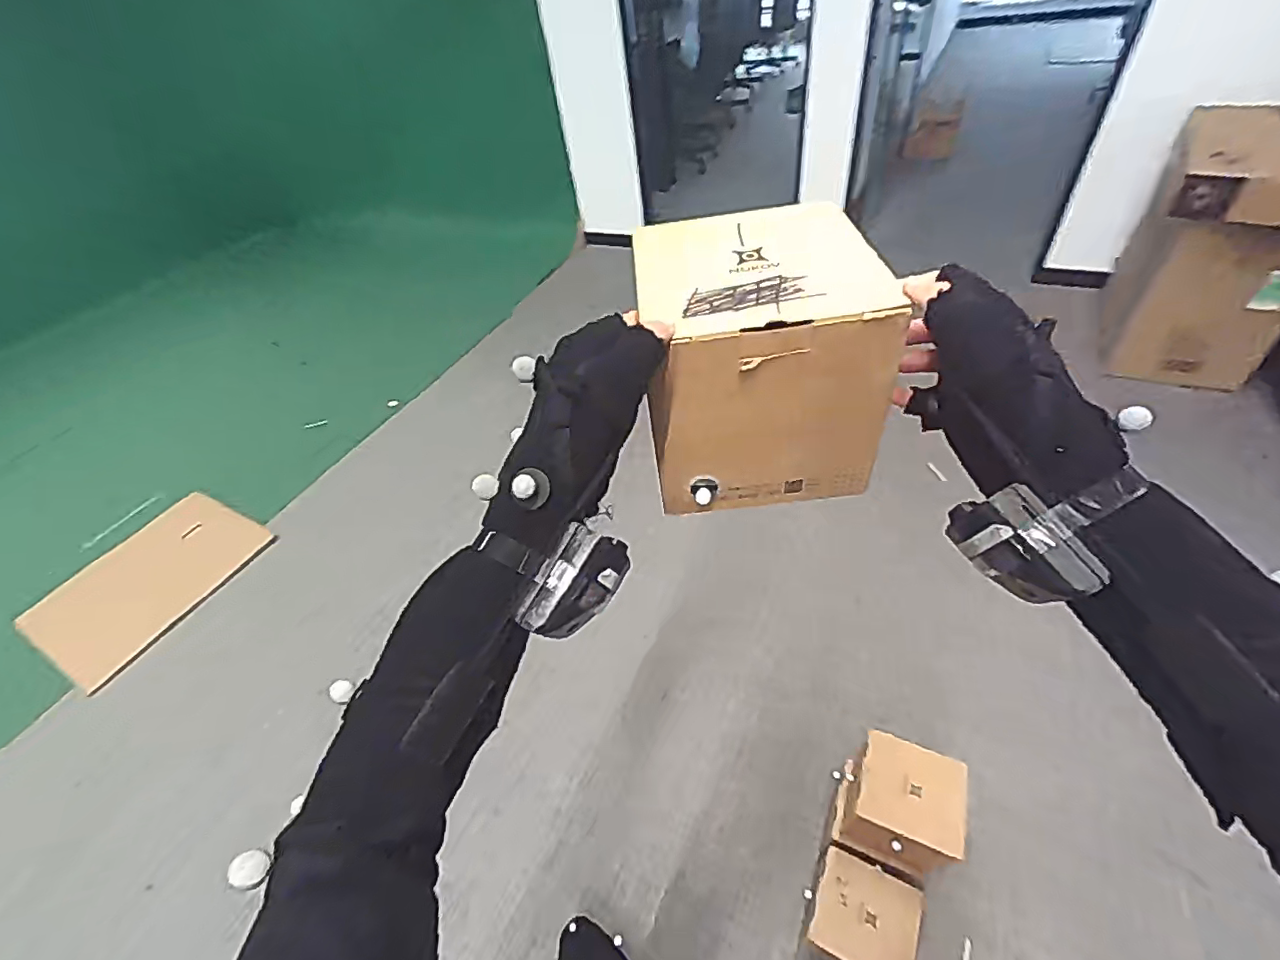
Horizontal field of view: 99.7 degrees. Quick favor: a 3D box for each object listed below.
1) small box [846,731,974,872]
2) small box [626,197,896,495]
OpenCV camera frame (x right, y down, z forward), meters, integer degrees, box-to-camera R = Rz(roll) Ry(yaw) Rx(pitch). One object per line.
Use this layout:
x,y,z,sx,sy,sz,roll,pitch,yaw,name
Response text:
0.513,0.620,1.038,0.179,0.176,0.168,15,50,22,small box
0.083,-0.101,0.442,0.168,0.176,0.179,-7,46,3,small box
